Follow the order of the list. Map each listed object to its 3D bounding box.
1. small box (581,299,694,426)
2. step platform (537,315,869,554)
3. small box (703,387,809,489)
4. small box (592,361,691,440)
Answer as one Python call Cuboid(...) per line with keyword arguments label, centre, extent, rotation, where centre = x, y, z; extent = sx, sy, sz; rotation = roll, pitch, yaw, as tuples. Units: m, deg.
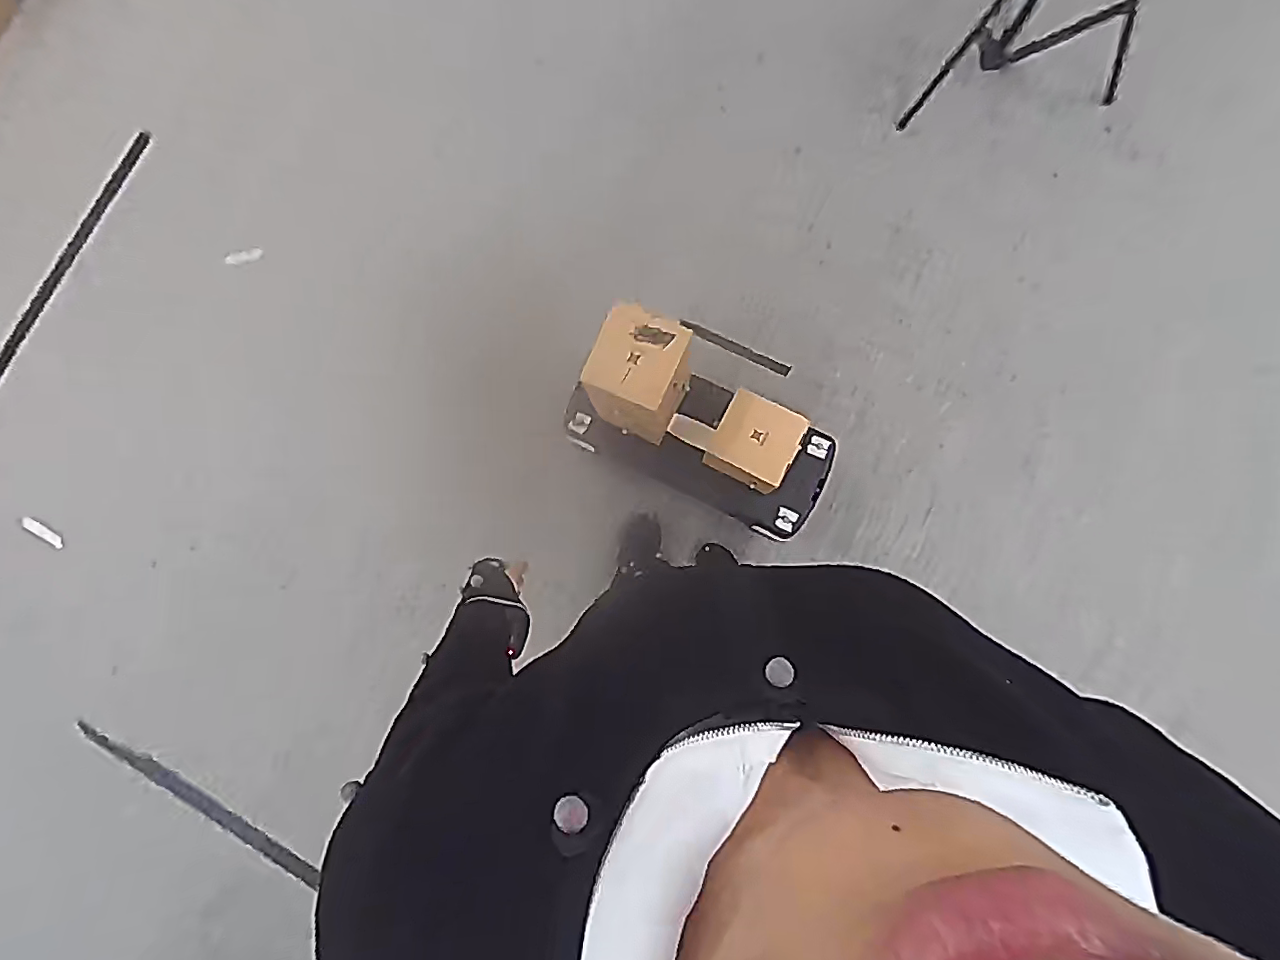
Cuboid(label="small box", centre=(-0.003, -0.232, 1.107), extent=(0.168, 0.176, 0.179), rotation=(25, 86, 5))
Cuboid(label="step platform", centre=(0.129, -0.098, 1.216), extent=(0.684, 0.204, 0.286), rotation=(26, 86, 5))
Cuboid(label="small box", centre=(0.259, -0.088, 1.245), extent=(0.179, 0.176, 0.168), rotation=(27, 86, 8))
Cuboid(label="small box", centre=(0.006, -0.210, 1.270), extent=(0.168, 0.176, 0.179), rotation=(26, 86, 6))
